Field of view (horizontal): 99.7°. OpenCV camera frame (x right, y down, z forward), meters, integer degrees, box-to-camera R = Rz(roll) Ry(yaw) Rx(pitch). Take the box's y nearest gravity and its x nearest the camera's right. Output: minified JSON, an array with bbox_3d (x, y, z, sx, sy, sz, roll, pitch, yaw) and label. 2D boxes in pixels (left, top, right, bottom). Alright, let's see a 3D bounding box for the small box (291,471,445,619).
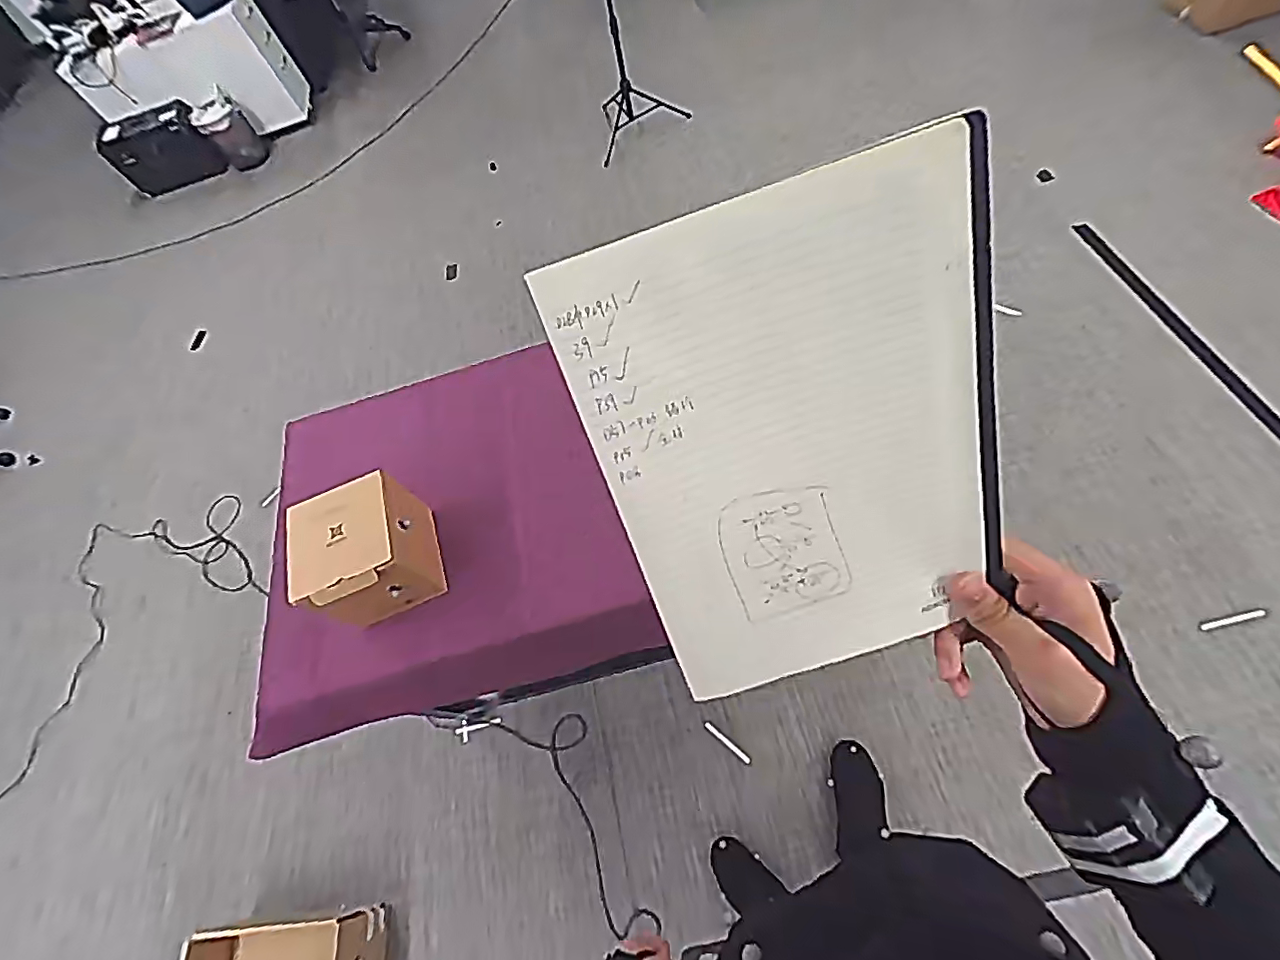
[{"bbox_3d":[-0.449,0.119,0.910,0.168,0.176,0.179,-23,61,-1],"label":"small box"}]
